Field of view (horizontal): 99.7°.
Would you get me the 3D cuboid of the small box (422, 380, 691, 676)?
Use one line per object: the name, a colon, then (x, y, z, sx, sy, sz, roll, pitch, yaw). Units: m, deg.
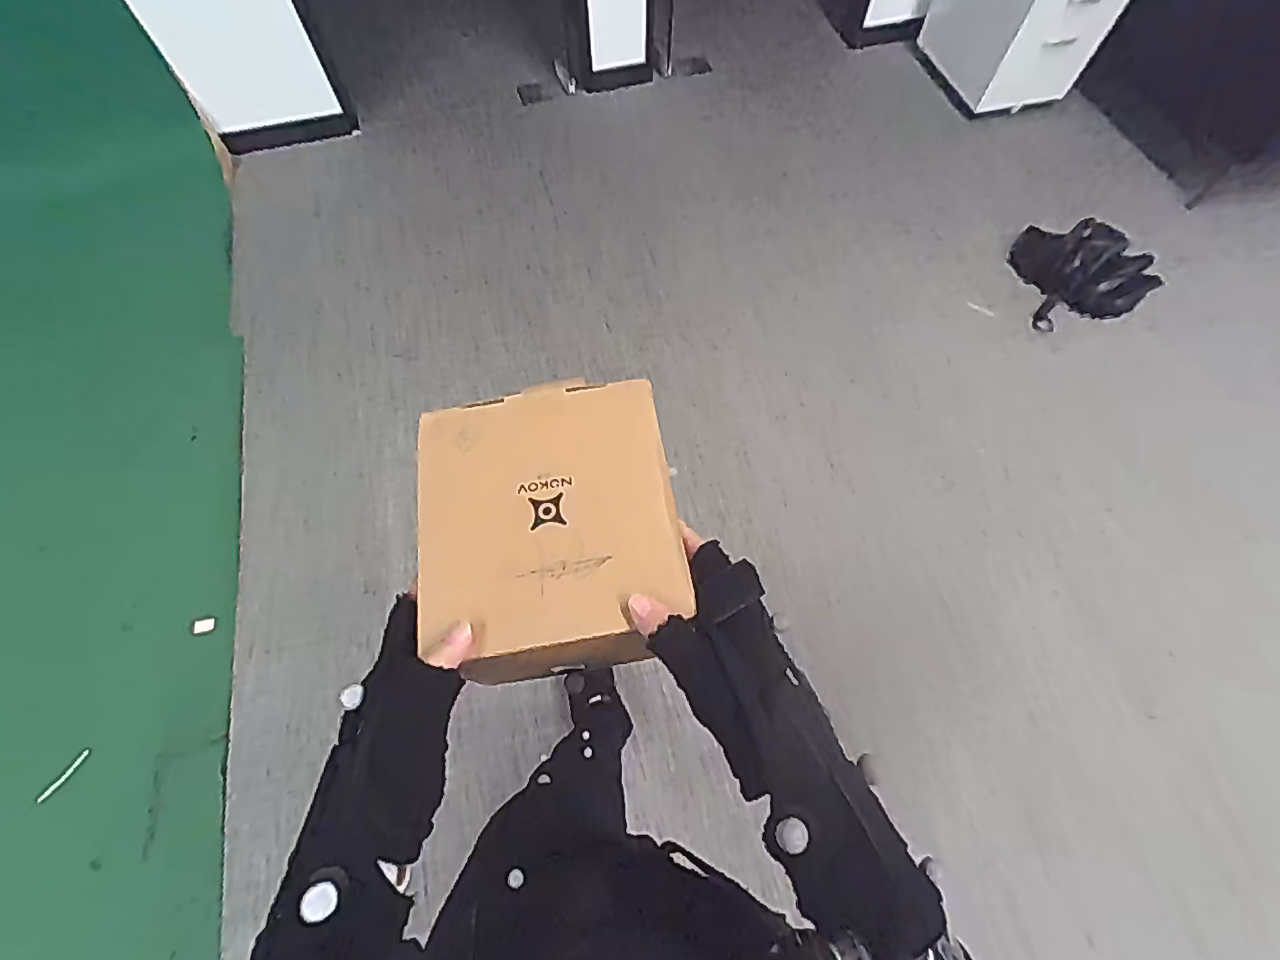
small box: (-0.060, 0.048, 0.433, 0.168, 0.176, 0.179, -9, 66, -3)
